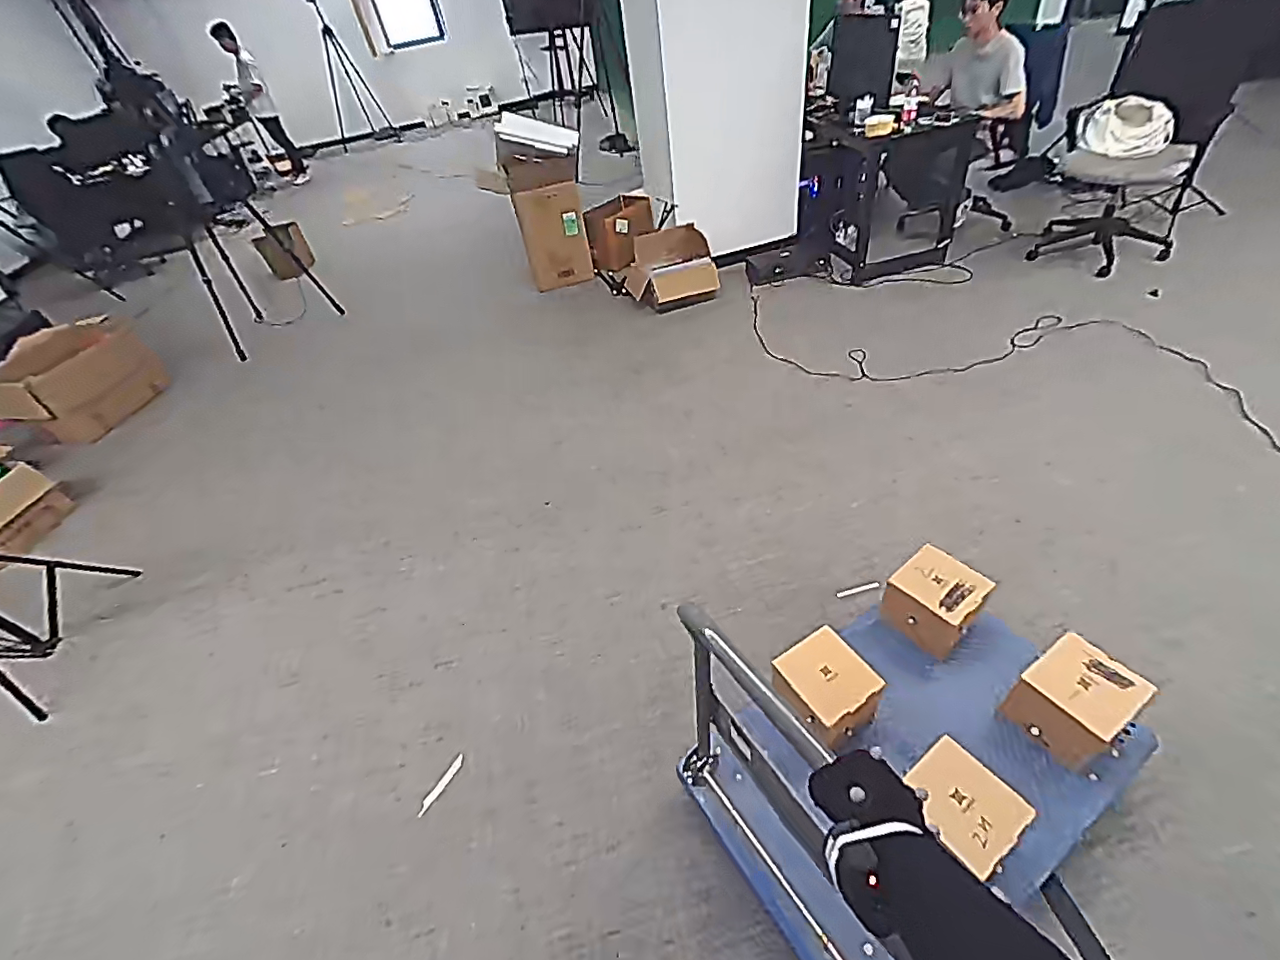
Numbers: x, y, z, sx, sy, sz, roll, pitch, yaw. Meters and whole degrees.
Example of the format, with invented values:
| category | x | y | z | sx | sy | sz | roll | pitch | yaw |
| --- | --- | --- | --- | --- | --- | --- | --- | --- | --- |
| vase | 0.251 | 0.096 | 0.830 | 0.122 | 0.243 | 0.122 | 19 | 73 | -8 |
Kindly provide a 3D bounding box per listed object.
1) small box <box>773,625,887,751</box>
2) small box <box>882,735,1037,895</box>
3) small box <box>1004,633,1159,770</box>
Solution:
| category | x | y | z | sx | sy | sz | roll | pitch | yaw |
| --- | --- | --- | --- | --- | --- | --- | --- | --- | --- |
| small box | 0.419 | 0.473 | 1.225 | 0.168 | 0.176 | 0.179 | -27 | 47 | -17 |
| small box | 0.588 | 0.632 | 1.020 | 0.168 | 0.176 | 0.179 | -31 | 46 | -19 |
| small box | 0.906 | 0.463 | 1.130 | 0.179 | 0.176 | 0.168 | -29 | 46 | -17 |
